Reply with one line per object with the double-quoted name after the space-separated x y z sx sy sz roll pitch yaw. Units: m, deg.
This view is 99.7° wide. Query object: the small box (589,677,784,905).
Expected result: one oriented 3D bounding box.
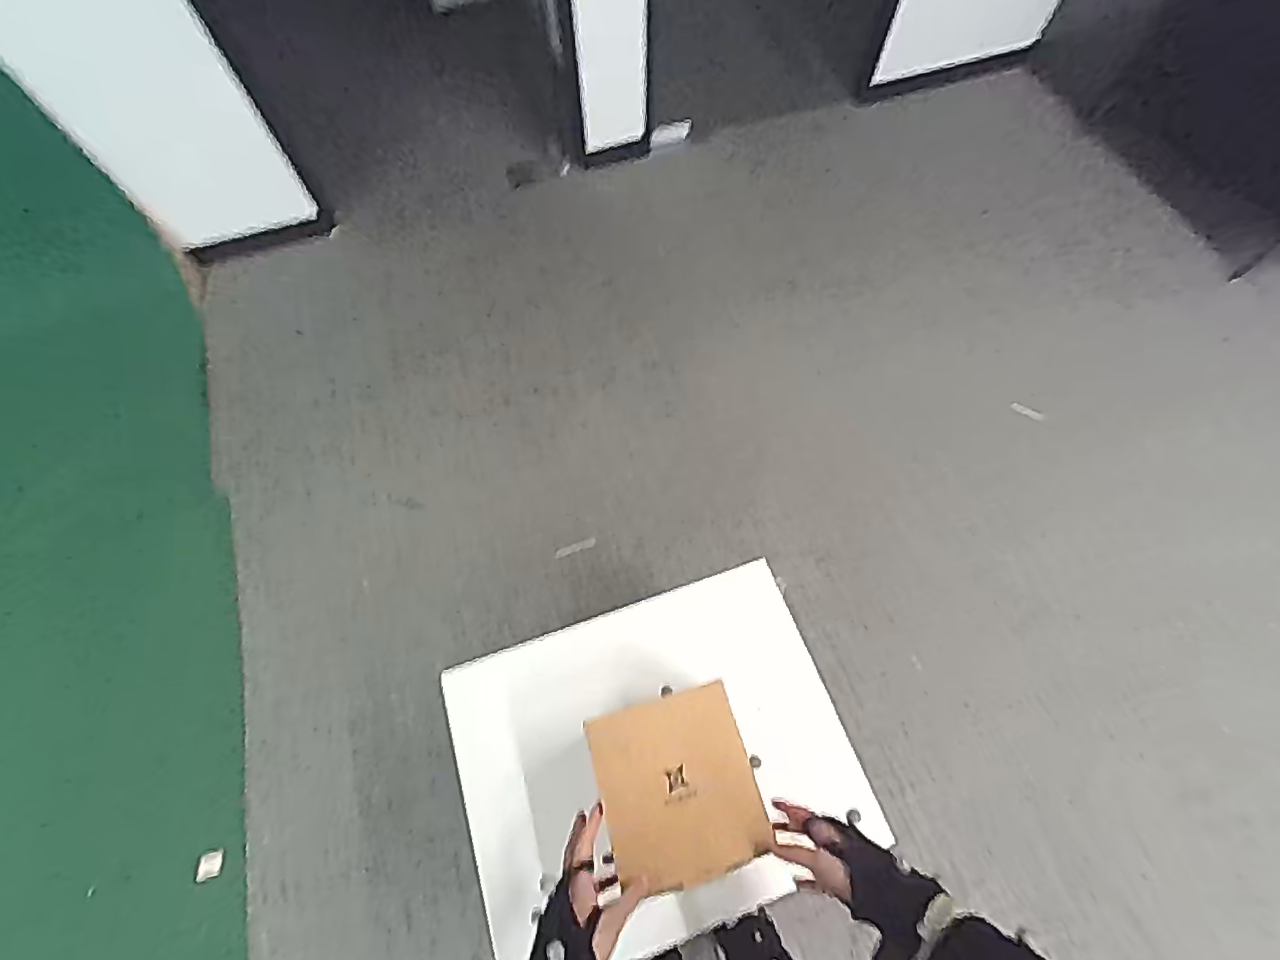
0.044 0.354 0.640 0.168 0.176 0.179 -16 66 -6 "small box"
